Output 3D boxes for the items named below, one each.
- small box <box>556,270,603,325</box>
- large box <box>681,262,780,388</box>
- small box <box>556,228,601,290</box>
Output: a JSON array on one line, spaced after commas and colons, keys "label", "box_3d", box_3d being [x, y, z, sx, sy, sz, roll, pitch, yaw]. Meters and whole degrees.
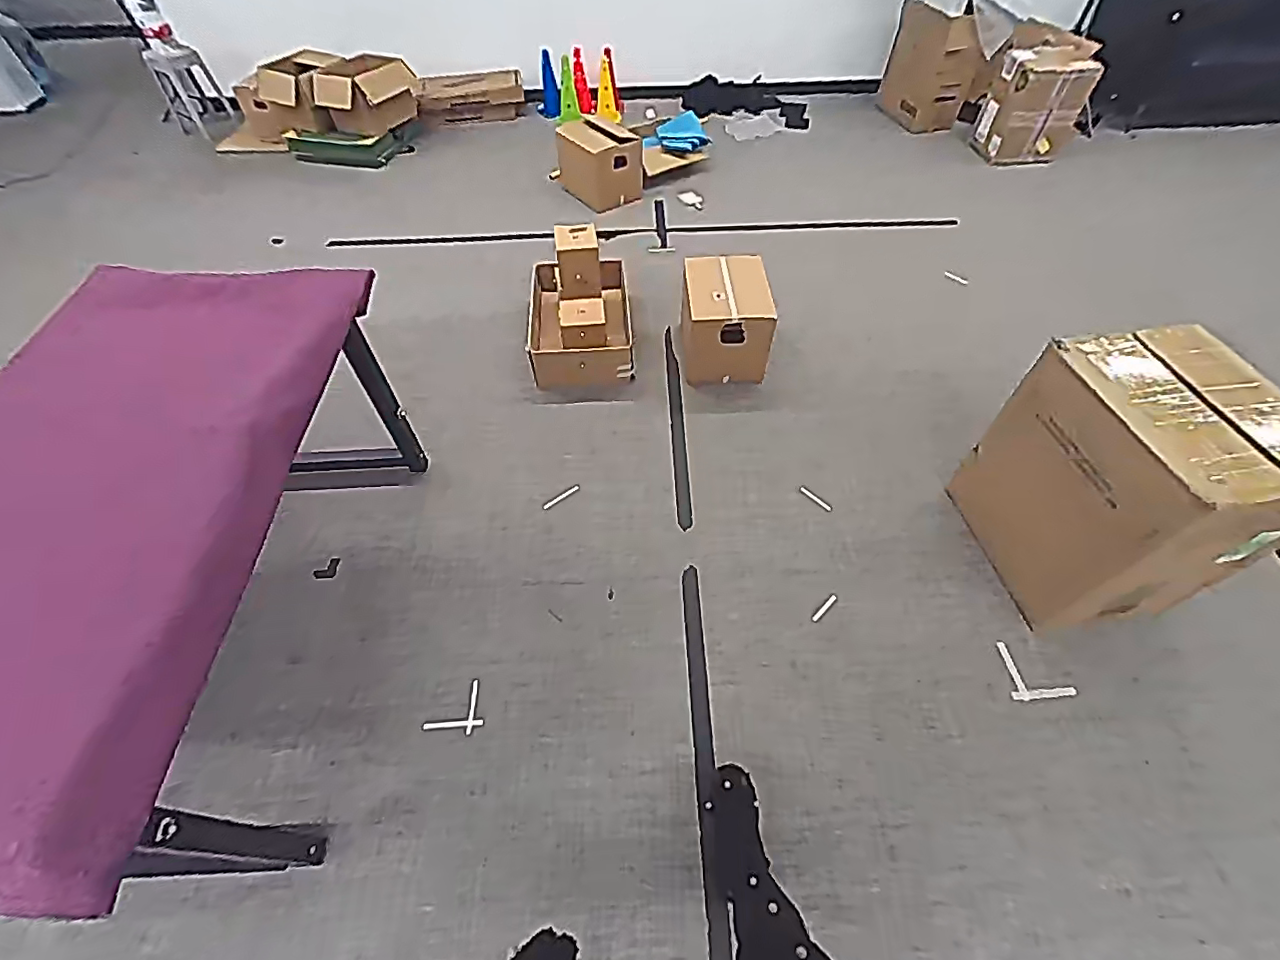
[{"label": "small box", "box_3d": [-0.258, -0.792, 2.329, 0.179, 0.176, 0.168, -10, 54, -8]}, {"label": "large box", "box_3d": [0.342, -0.623, 2.167, 0.320, 0.320, 0.408, -3, 54, 0]}, {"label": "small box", "box_3d": [-0.251, -0.900, 2.203, 0.168, 0.176, 0.179, -7, 55, -5]}]
